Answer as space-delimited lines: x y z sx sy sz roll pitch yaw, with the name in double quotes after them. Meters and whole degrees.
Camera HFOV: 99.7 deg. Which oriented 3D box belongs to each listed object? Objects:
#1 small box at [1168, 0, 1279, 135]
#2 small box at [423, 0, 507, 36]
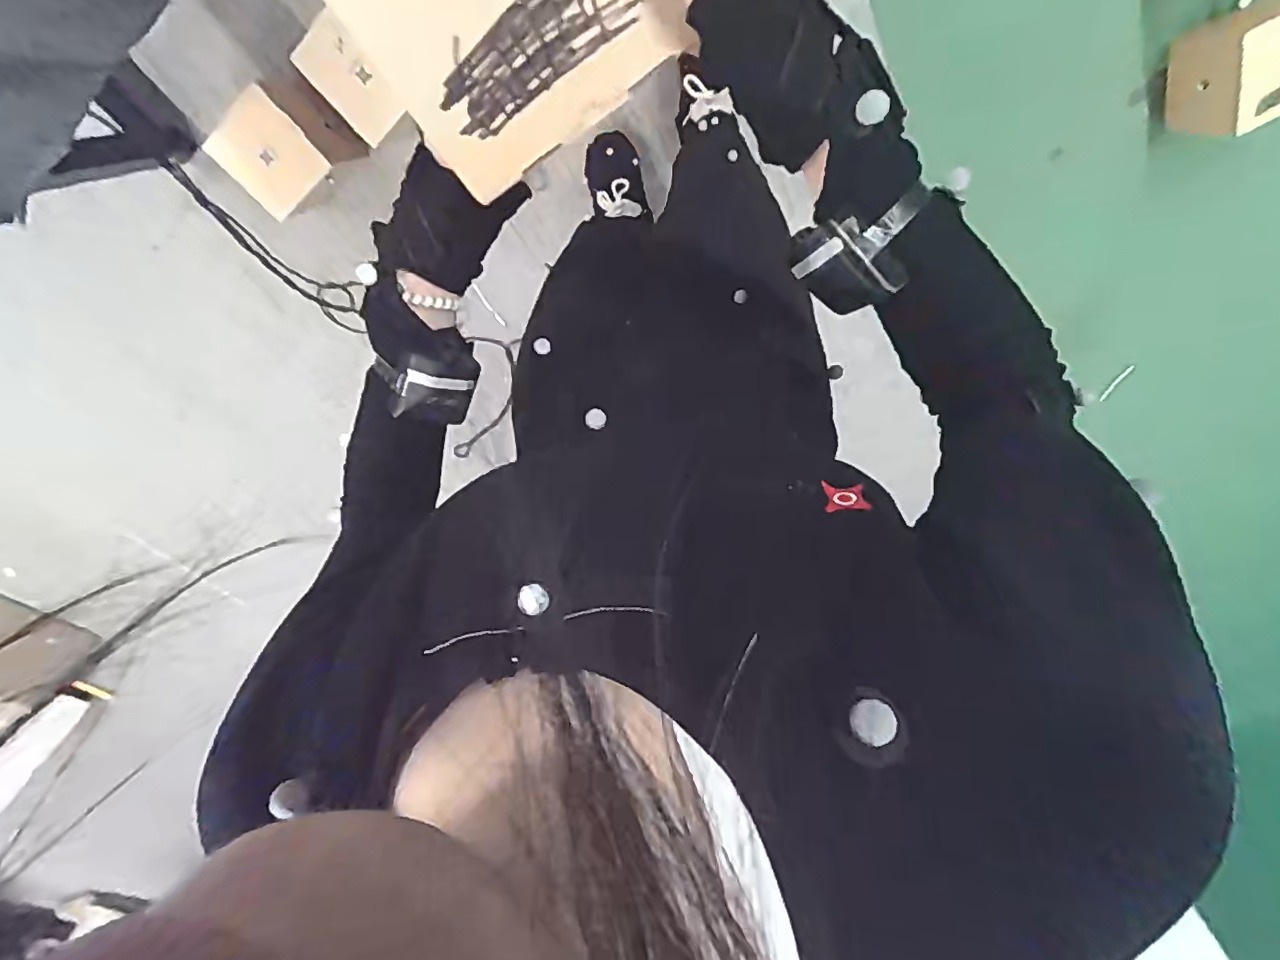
1.136 -0.782 1.002 0.168 0.176 0.179 -24 123 17 "small box"
-0.311 -0.888 0.902 0.168 0.176 0.179 -37 119 25 "small box"
